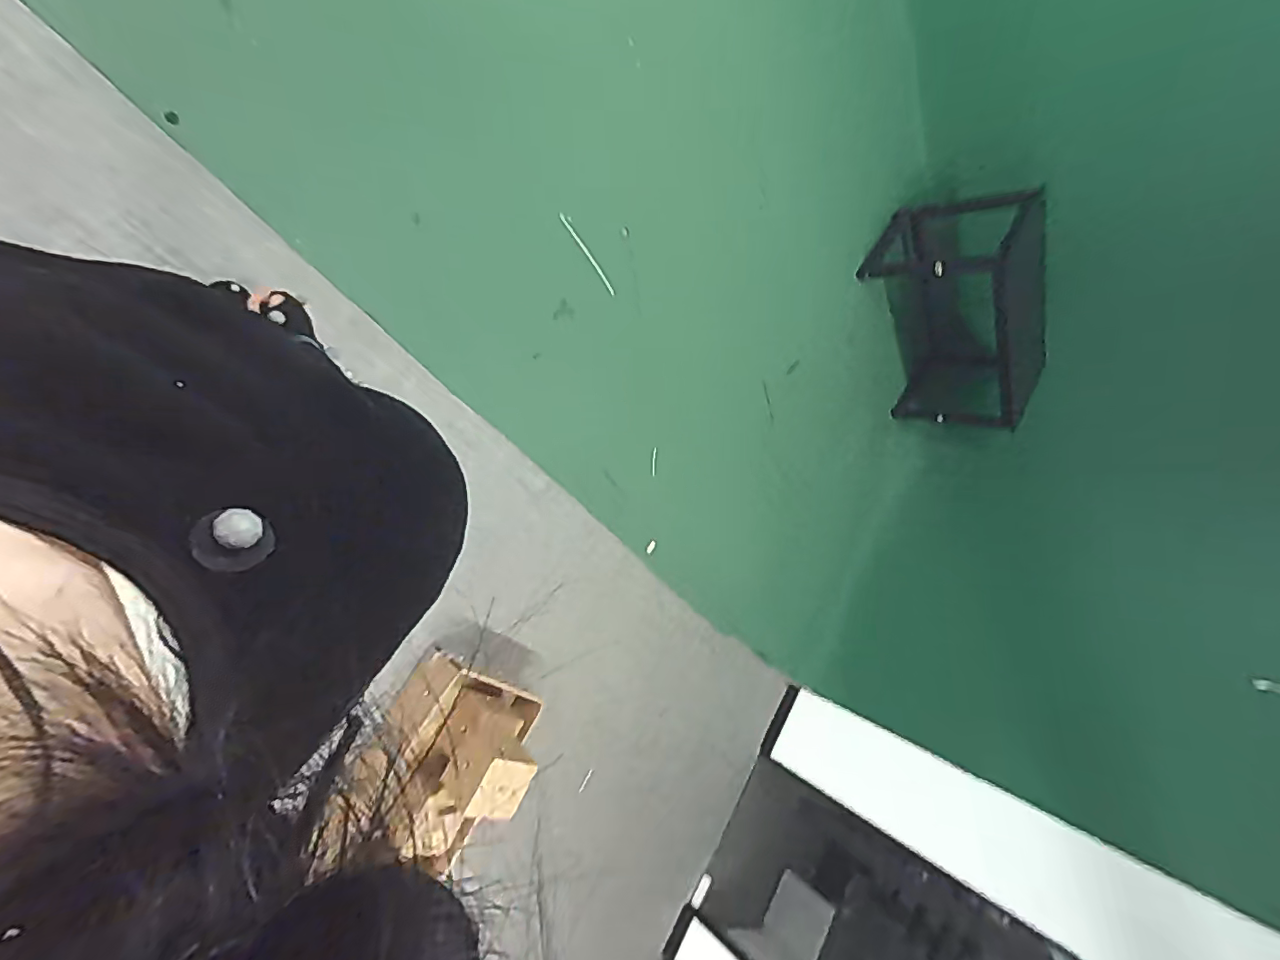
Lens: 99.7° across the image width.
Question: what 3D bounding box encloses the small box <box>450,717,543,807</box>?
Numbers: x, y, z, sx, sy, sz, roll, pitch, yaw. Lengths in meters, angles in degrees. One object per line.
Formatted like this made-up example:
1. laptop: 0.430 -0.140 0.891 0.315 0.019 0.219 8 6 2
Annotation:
1. small box: -0.428 0.828 1.595 0.179 0.176 0.168 38 78 -41

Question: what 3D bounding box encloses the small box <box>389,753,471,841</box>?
1. small box: -0.641 0.974 1.667 0.168 0.176 0.179 36 77 -42

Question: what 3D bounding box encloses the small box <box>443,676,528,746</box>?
1. small box: -0.499 0.761 1.736 0.168 0.176 0.179 40 77 -41
